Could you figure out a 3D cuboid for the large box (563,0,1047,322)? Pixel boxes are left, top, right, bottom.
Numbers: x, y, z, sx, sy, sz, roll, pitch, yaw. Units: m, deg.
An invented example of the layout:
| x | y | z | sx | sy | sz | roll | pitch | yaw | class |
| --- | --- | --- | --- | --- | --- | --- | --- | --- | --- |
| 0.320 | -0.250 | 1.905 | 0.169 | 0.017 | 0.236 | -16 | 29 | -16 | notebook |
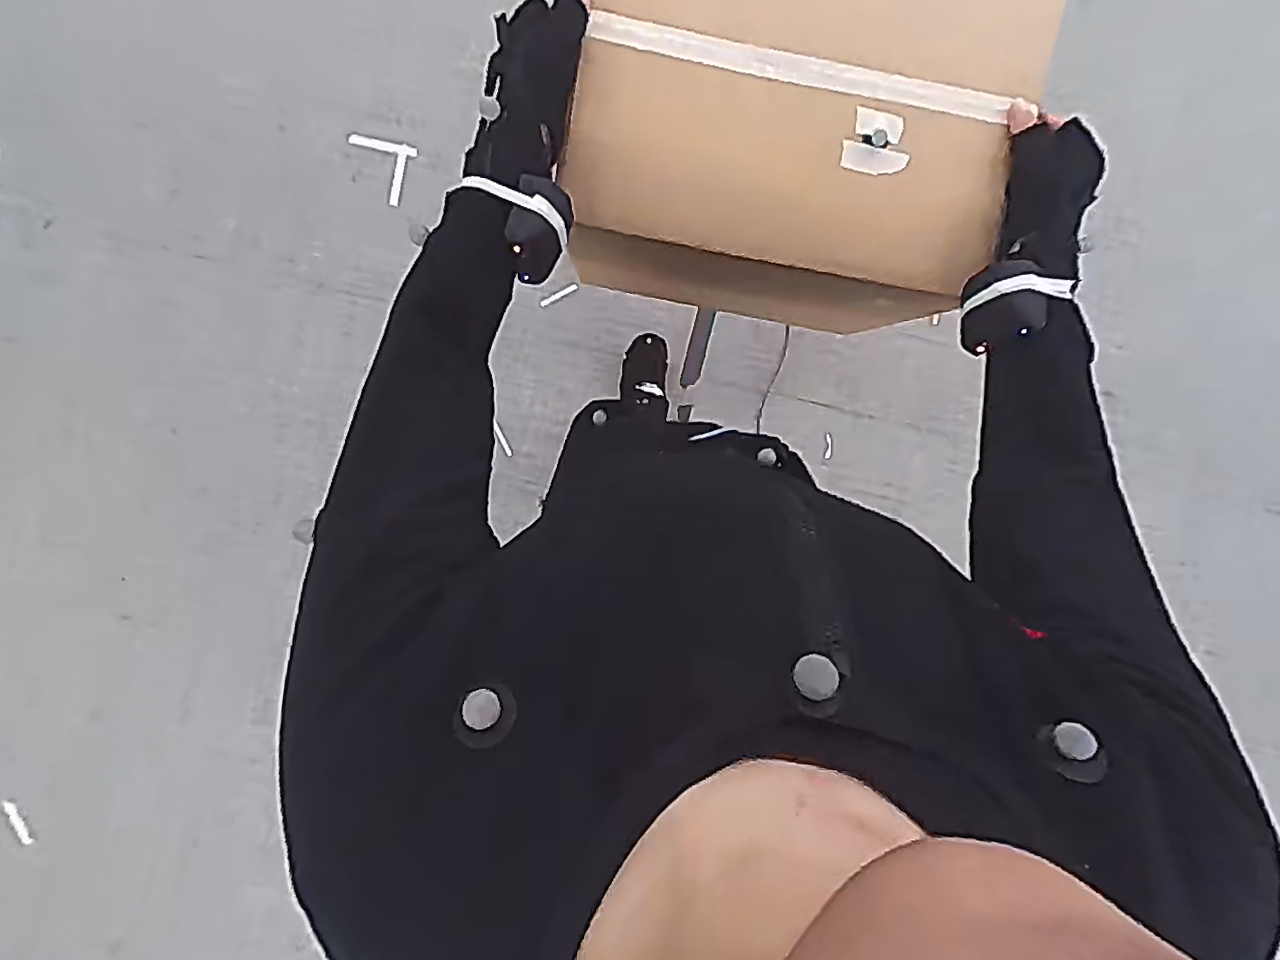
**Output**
| x | y | z | sx | sy | sz | roll | pitch | yaw | class |
| --- | --- | --- | --- | --- | --- | --- | --- | --- | --- |
| 0.140 | -0.386 | 0.624 | 0.408 | 0.320 | 0.320 | 9 | 100 | -4 | large box |
